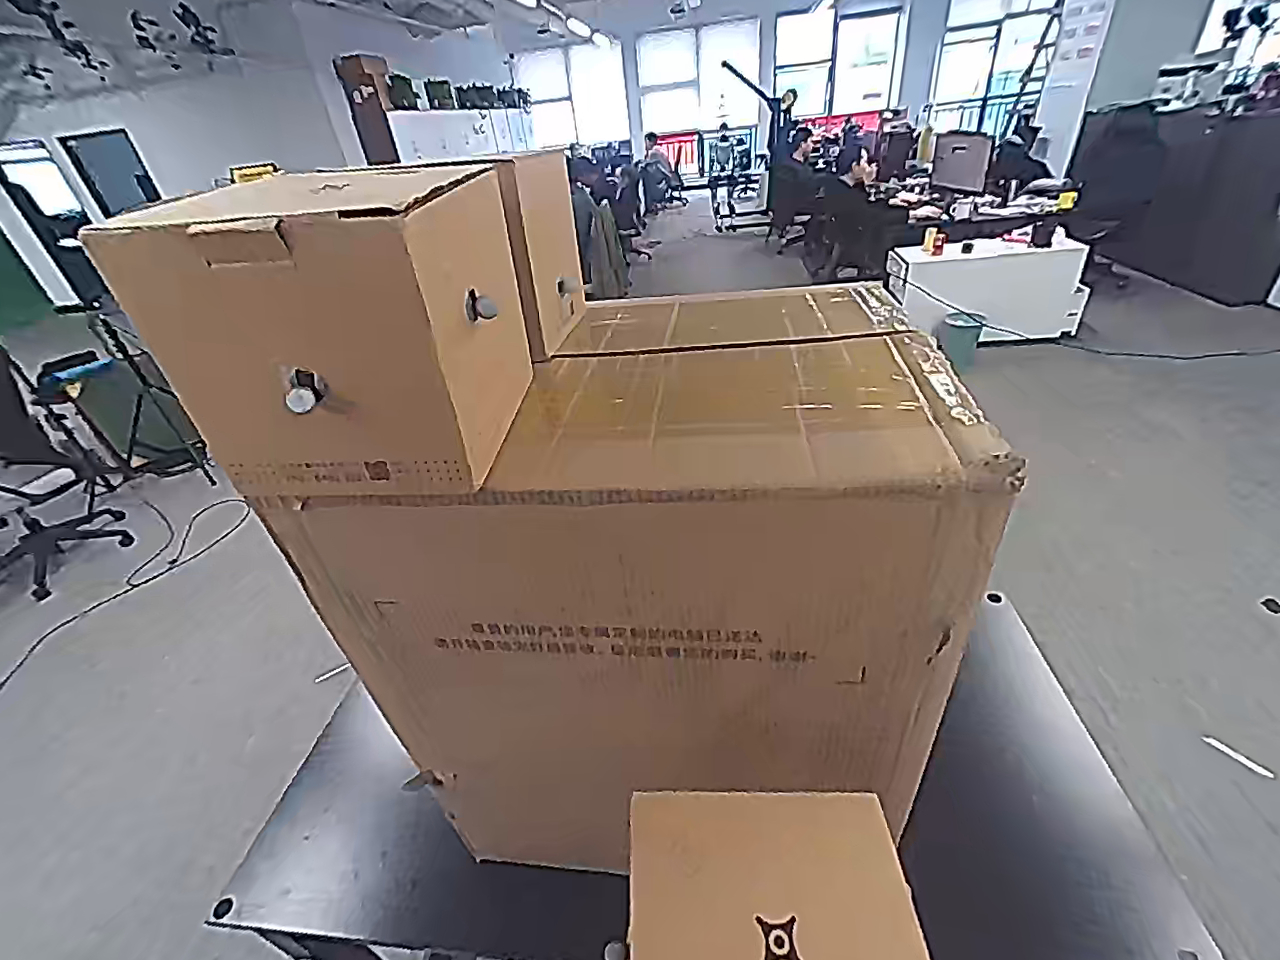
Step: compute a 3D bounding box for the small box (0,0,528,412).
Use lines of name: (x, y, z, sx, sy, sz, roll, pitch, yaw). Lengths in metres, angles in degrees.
small box: (-0.166, -0.146, 0.292, 0.168, 0.176, 0.179, -1, 38, 3)

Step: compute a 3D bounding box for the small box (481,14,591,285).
small box: (-0.151, -0.264, 0.461, 0.179, 0.176, 0.168, 1, 33, 9)
